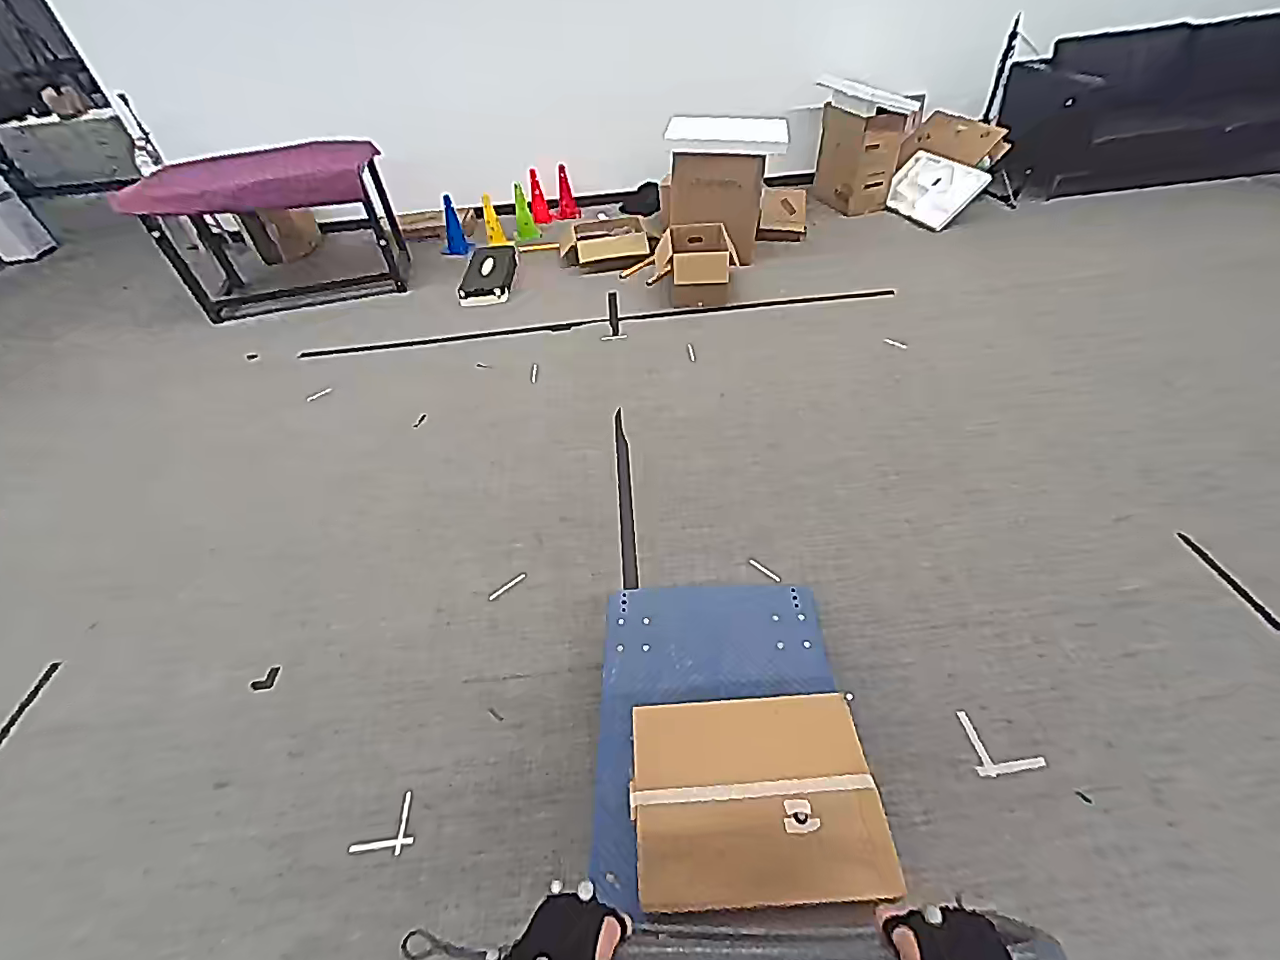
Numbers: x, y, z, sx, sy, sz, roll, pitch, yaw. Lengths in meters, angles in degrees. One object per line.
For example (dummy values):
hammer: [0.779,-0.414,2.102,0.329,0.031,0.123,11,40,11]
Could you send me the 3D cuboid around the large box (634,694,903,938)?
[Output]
large box: [0.203,0.639,1.031,0.408,0.320,0.320,-4,45,0]
